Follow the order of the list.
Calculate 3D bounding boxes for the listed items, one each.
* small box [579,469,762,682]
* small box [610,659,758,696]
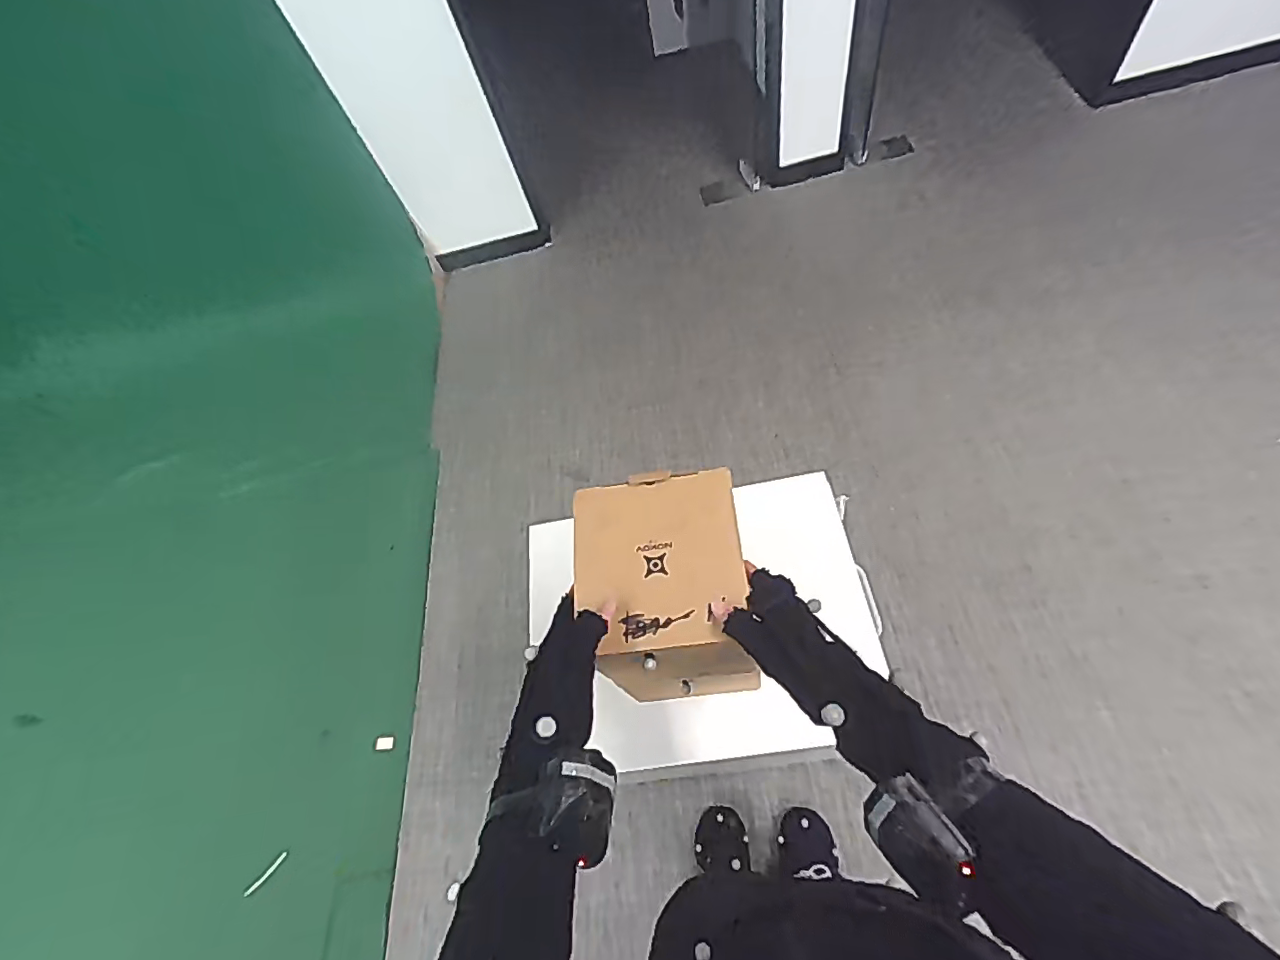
[{"bbox_3d":[0.034,0.113,0.600,0.168,0.176,0.179,-10,61,6],"label":"small box"},{"bbox_3d":[0.061,0.192,0.737,0.179,0.176,0.168,-9,60,7],"label":"small box"}]
